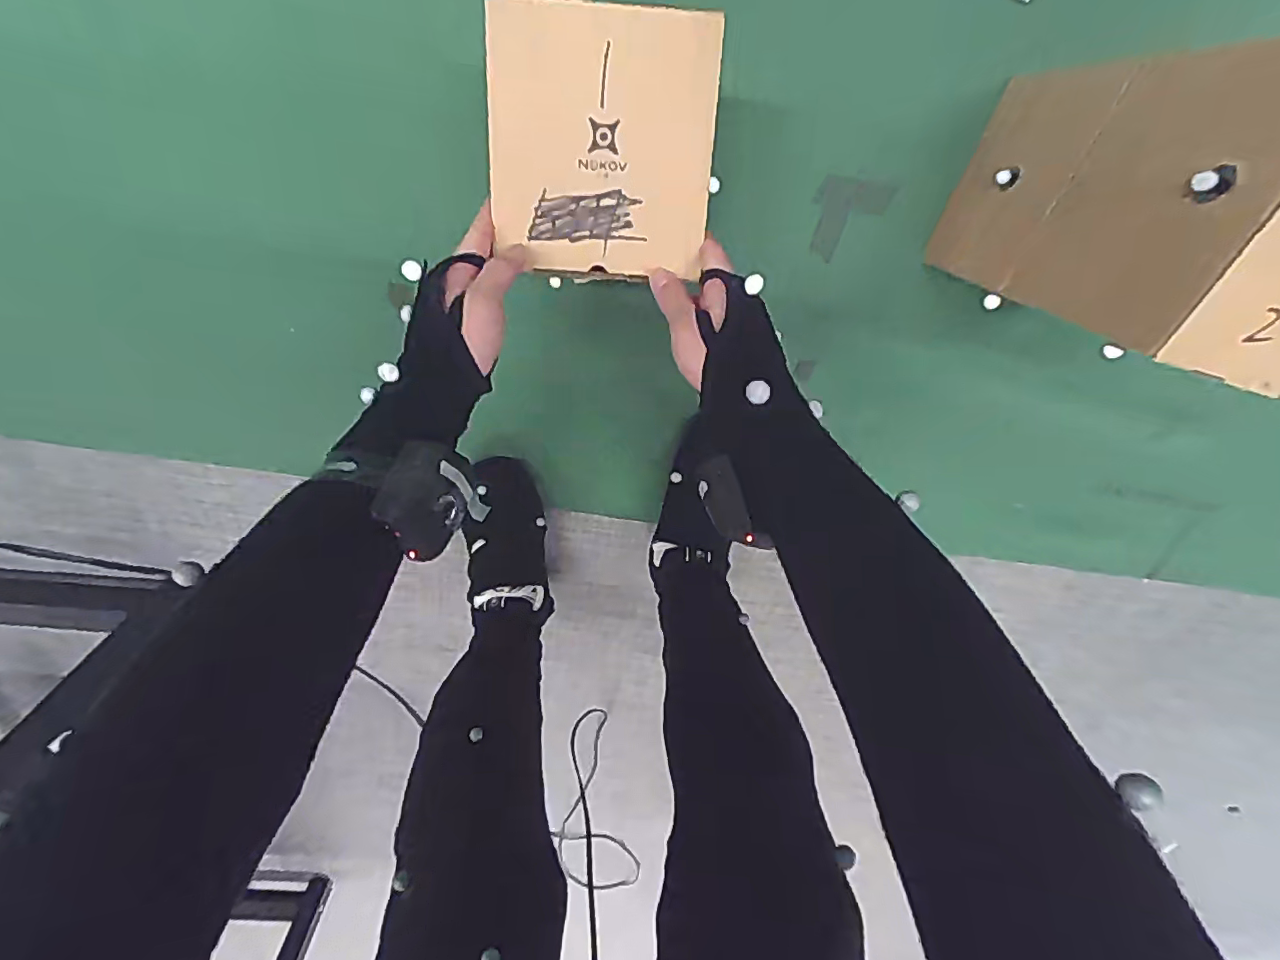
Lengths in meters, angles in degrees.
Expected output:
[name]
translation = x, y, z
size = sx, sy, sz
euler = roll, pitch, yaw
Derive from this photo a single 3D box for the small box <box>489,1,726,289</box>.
[small box]
translation = -0.028, -0.266, 0.472
size = 0.168, 0.176, 0.179
euler = 2, 110, -3
